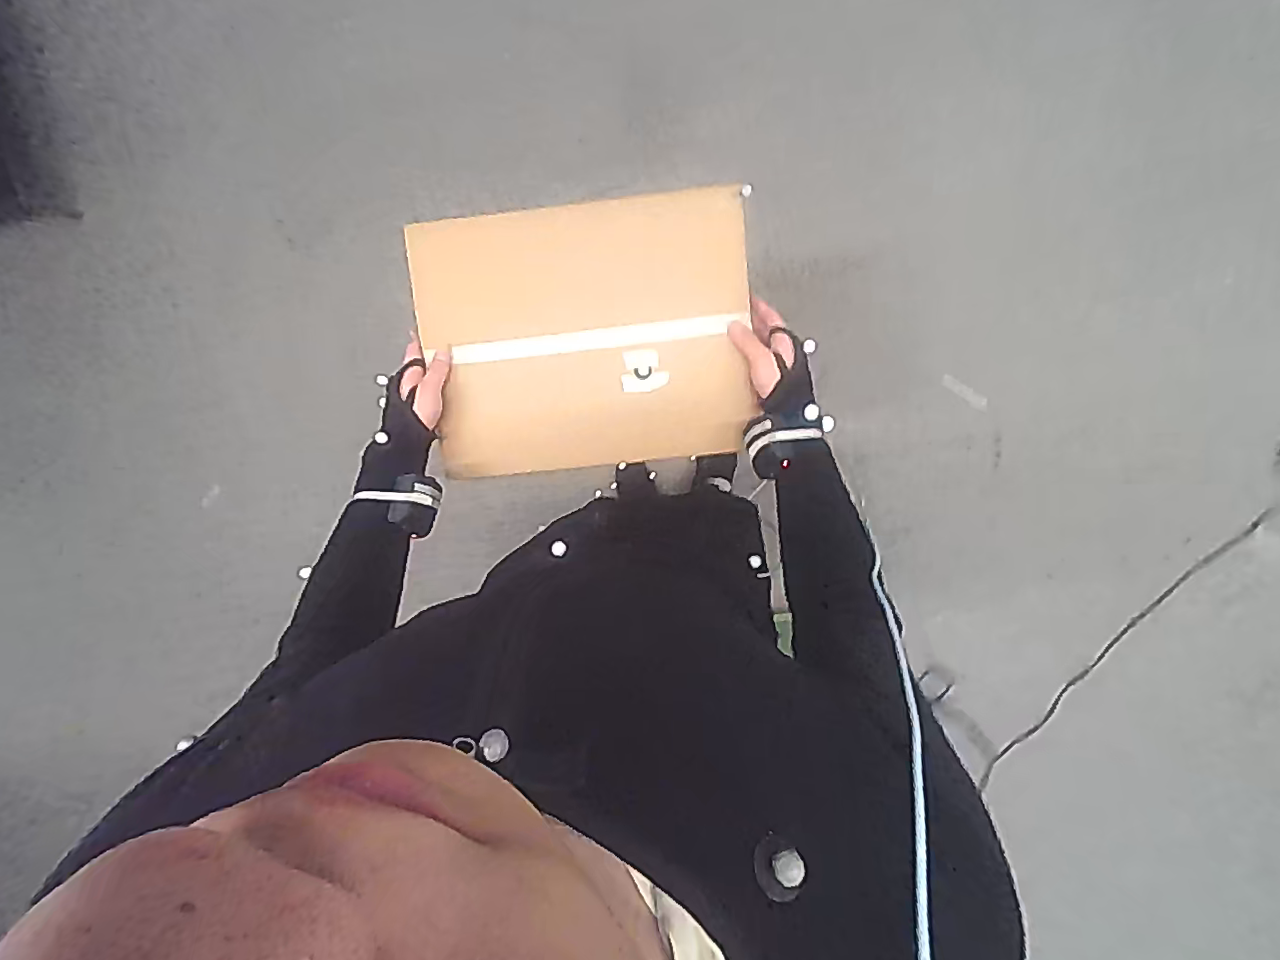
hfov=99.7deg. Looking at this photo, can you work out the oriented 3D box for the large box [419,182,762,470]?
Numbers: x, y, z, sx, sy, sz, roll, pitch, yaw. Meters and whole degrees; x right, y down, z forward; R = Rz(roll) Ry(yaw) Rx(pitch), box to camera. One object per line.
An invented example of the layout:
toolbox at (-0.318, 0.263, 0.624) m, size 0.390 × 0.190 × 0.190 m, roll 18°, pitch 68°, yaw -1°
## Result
large box at (-0.057, -0.206, 0.818) m, size 0.408 × 0.320 × 0.320 m, roll -5°, pitch 99°, yaw 2°
